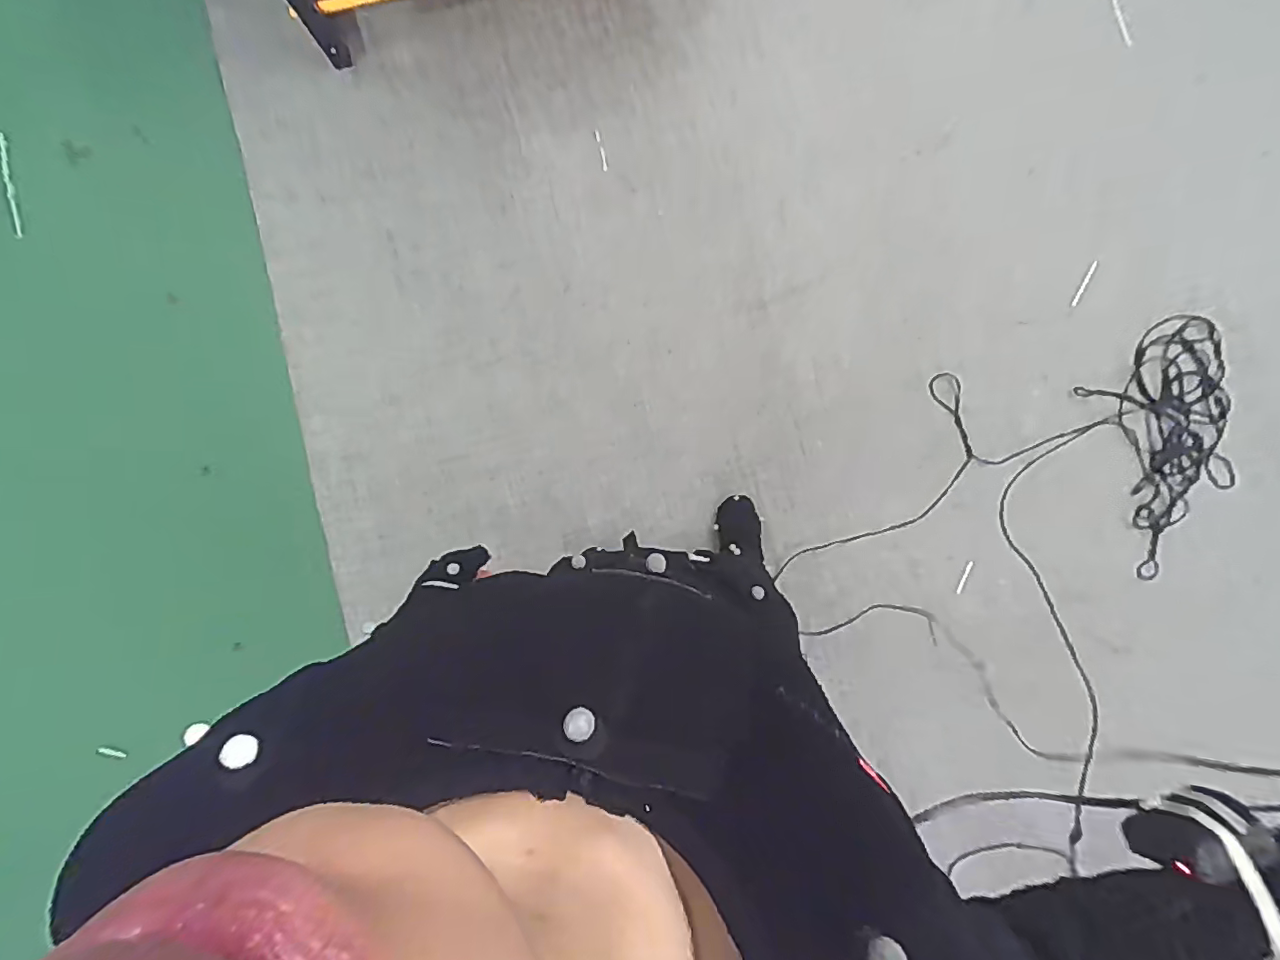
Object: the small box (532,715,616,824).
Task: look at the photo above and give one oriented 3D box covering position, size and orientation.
[{"bbox_3d":[-0.160,0.714,1.362,0.168,0.176,0.179,-14,88,0],"label":"small box"}]
